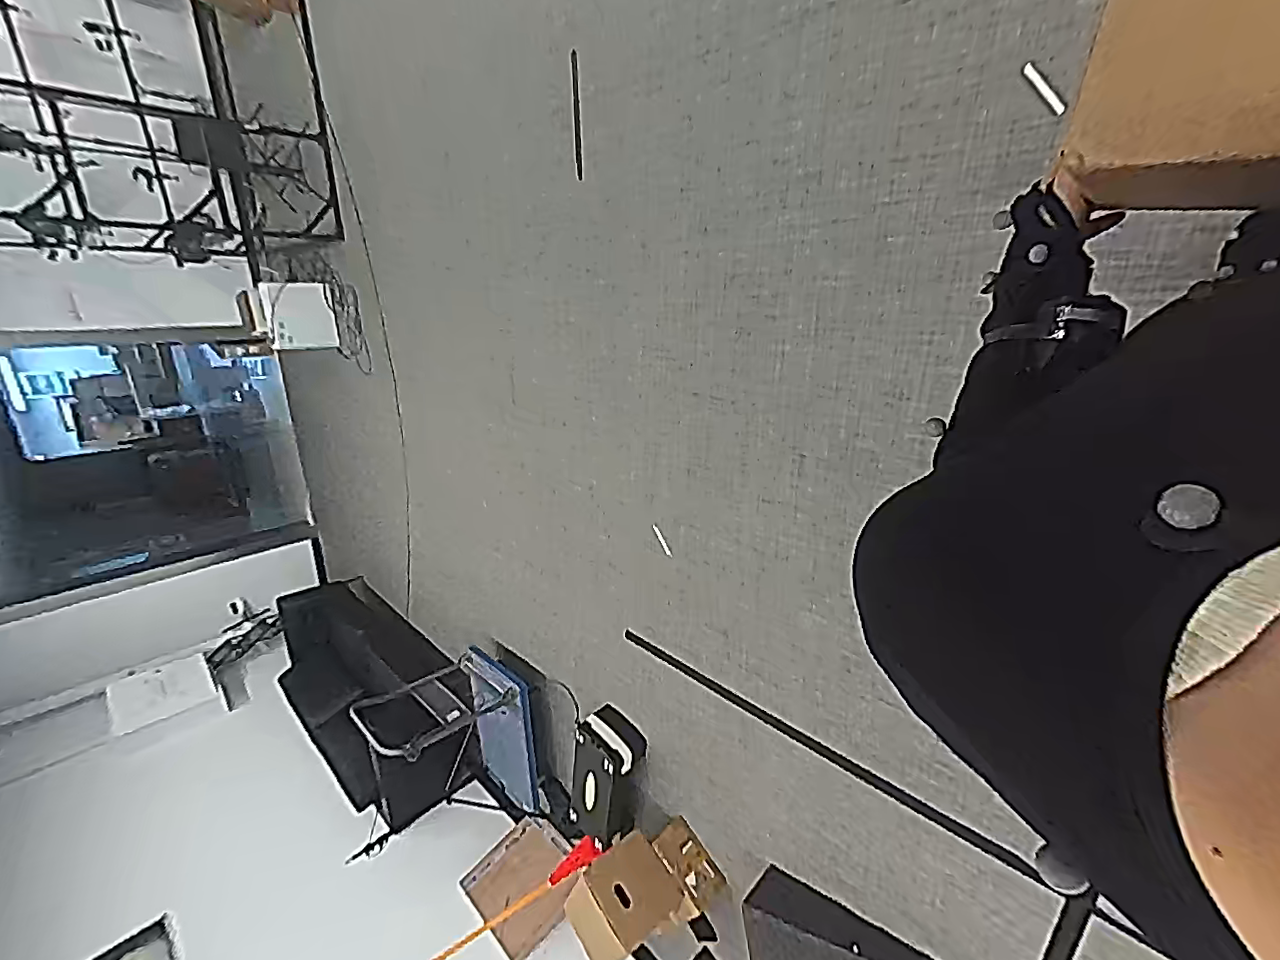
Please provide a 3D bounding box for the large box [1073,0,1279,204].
[{"bbox_3d":[0.453,-0.292,0.197,0.408,0.320,0.320,19,120,35],"label":"large box"}]
